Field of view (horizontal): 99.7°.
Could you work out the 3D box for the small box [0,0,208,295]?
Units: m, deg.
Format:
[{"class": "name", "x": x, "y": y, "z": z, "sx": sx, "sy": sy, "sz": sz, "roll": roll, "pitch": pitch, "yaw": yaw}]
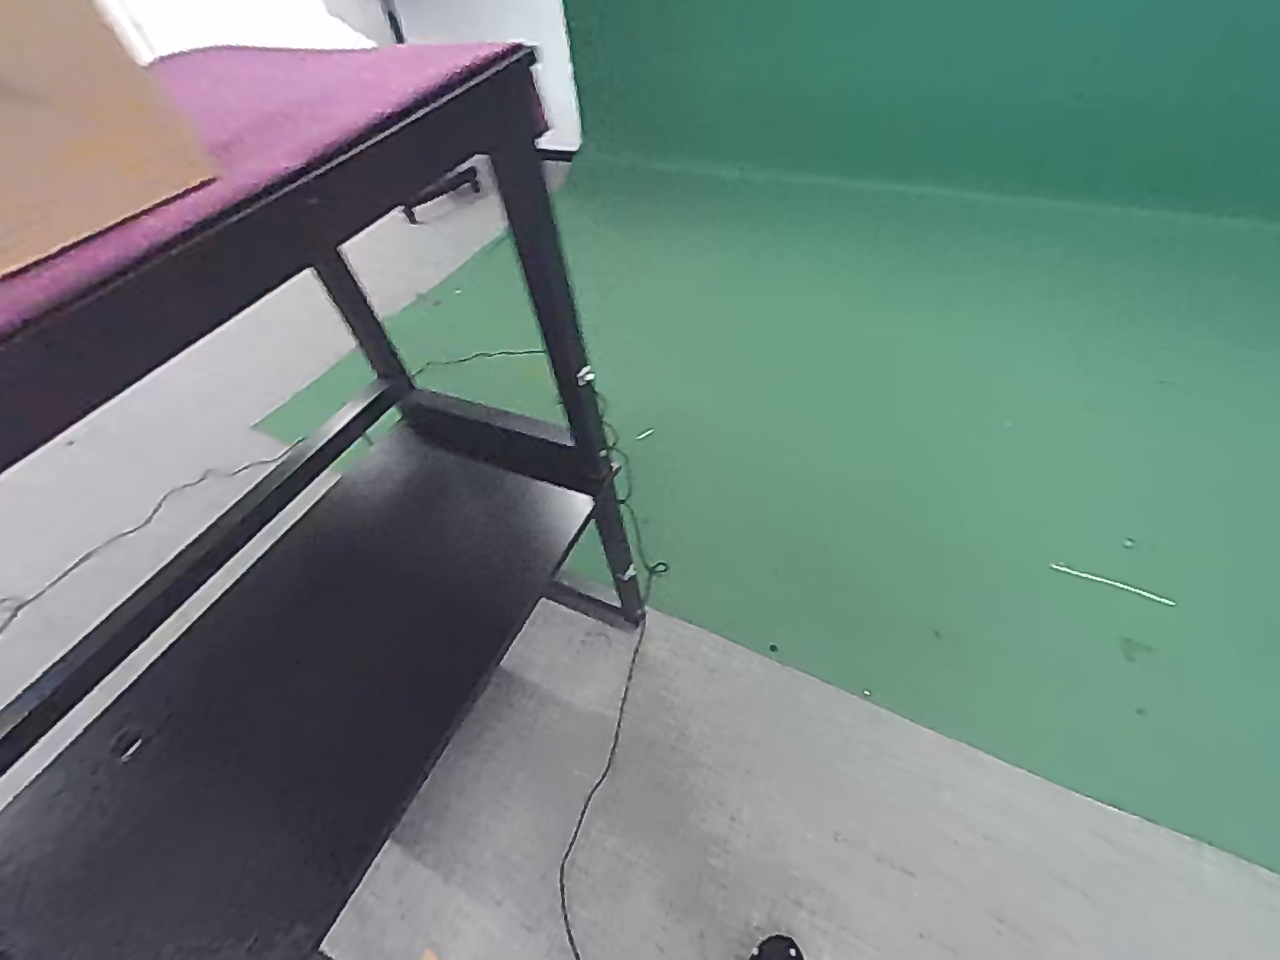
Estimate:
[{"class": "small box", "x": -0.483, "y": -0.259, "z": 0.391, "sx": 0.168, "sy": 0.176, "sz": 0.179, "roll": 19, "pitch": 58, "yaw": 23}]
